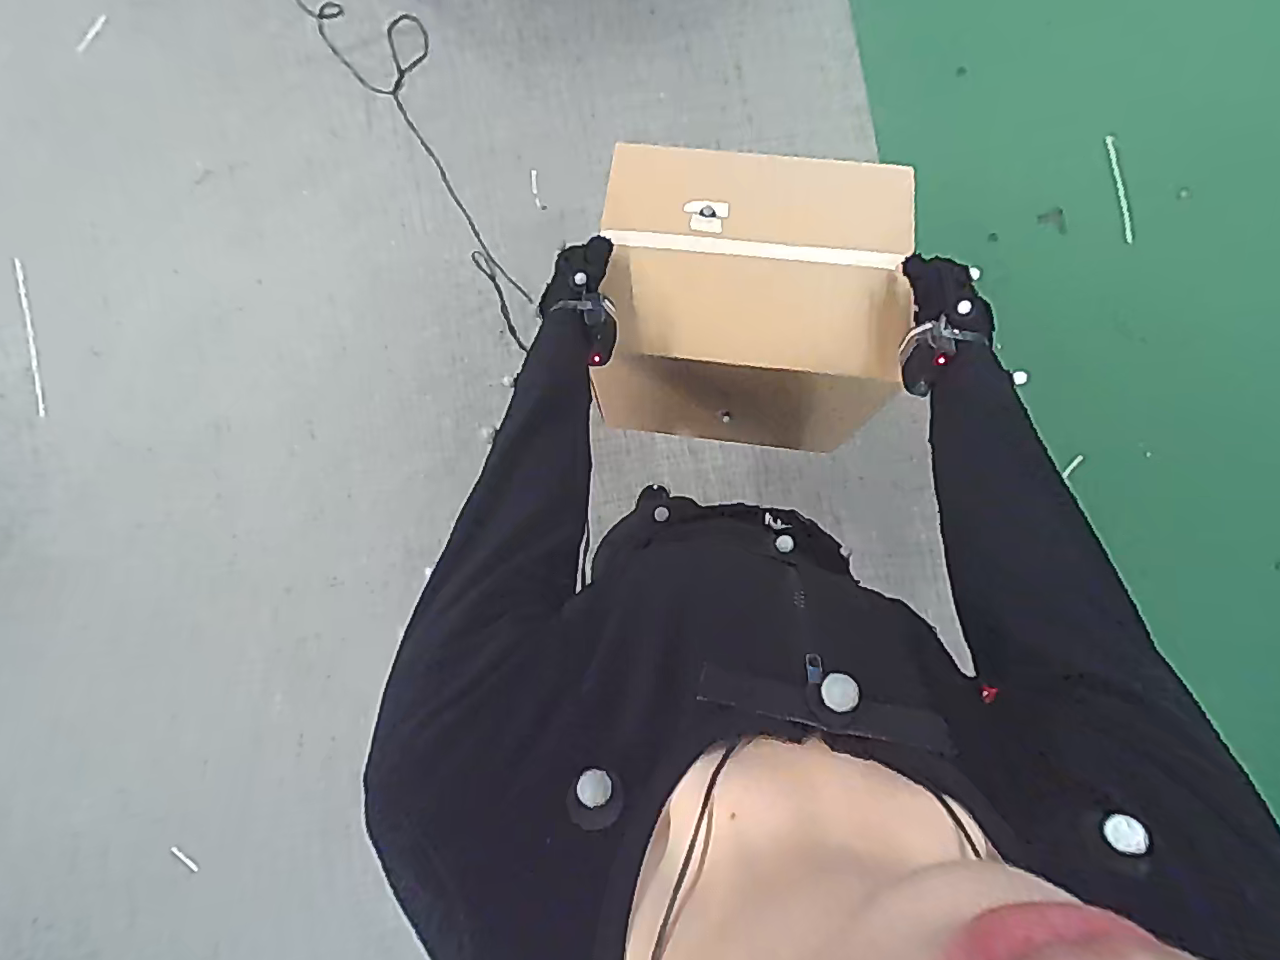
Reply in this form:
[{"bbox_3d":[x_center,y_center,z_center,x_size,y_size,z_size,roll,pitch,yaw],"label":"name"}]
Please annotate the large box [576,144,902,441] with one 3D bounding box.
[{"bbox_3d":[0.141,-0.261,0.840,0.408,0.320,0.320,7,77,4],"label":"large box"}]
